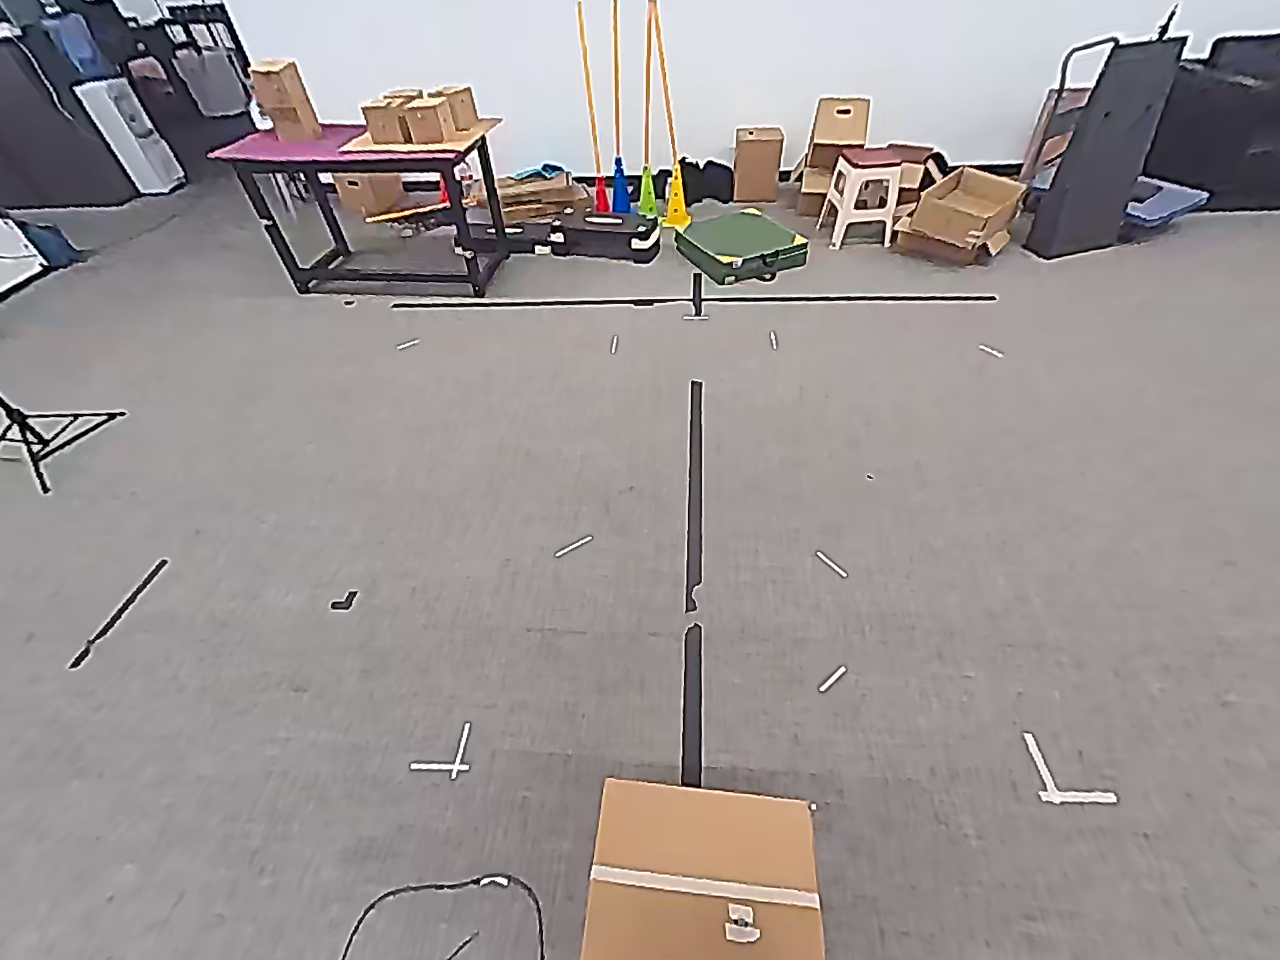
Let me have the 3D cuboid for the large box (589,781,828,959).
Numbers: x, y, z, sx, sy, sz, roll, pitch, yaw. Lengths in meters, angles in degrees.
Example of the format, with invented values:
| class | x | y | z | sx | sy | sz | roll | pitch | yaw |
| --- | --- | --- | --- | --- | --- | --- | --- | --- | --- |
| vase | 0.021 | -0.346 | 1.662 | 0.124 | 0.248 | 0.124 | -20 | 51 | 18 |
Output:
| class | x | y | z | sx | sy | sz | roll | pitch | yaw |
| --- | --- | --- | --- | --- | --- | --- | --- | --- | --- |
| large box | 0.126 | 0.830 | 1.072 | 0.408 | 0.320 | 0.320 | 3 | 46 | 6 |
